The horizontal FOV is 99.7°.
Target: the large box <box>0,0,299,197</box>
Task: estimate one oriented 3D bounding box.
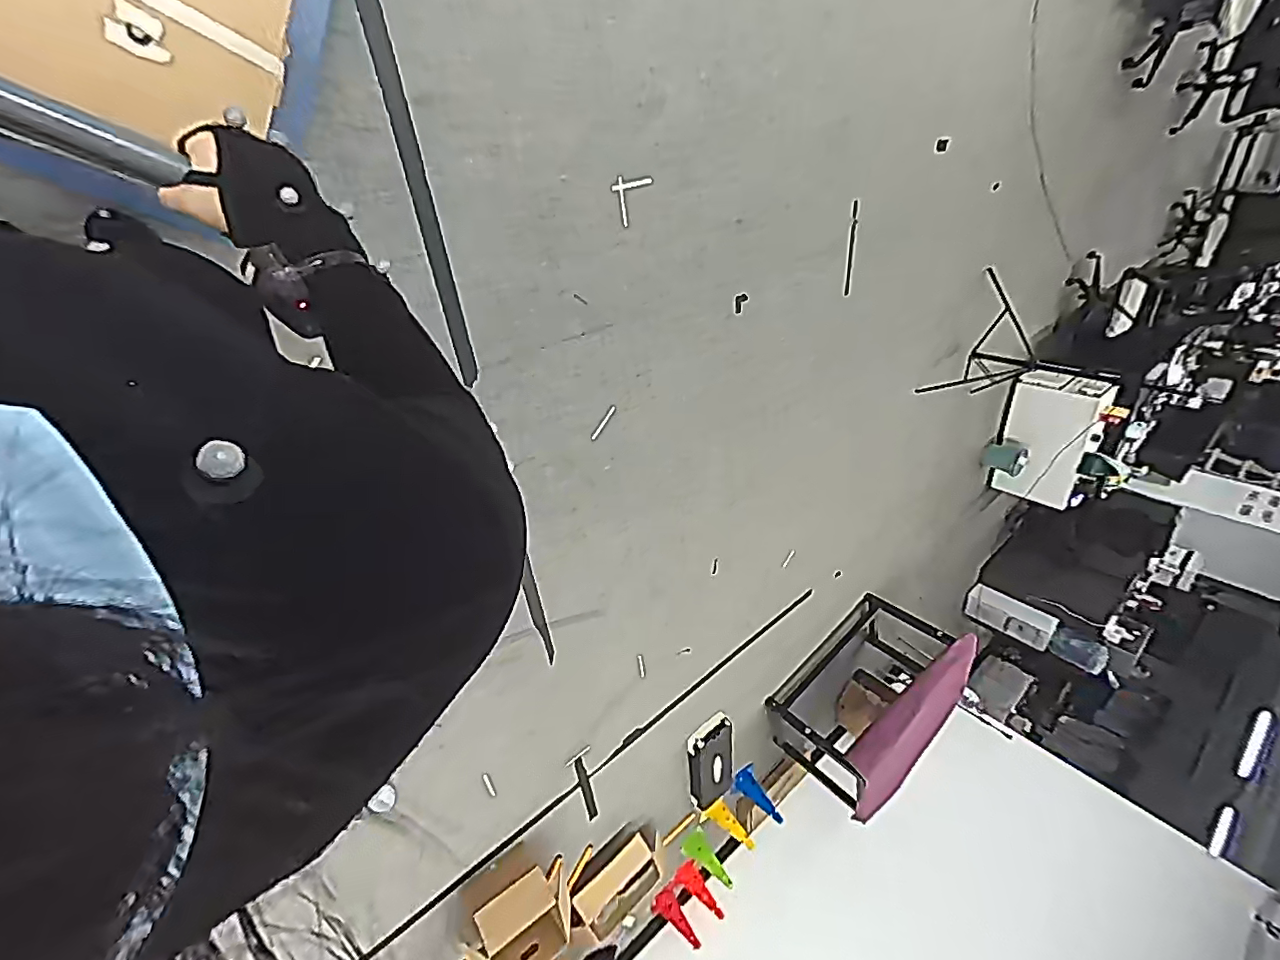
[{"bbox_3d":[-0.719,-0.611,0.691,0.408,0.320,0.320,11,104,-45],"label":"large box"}]
